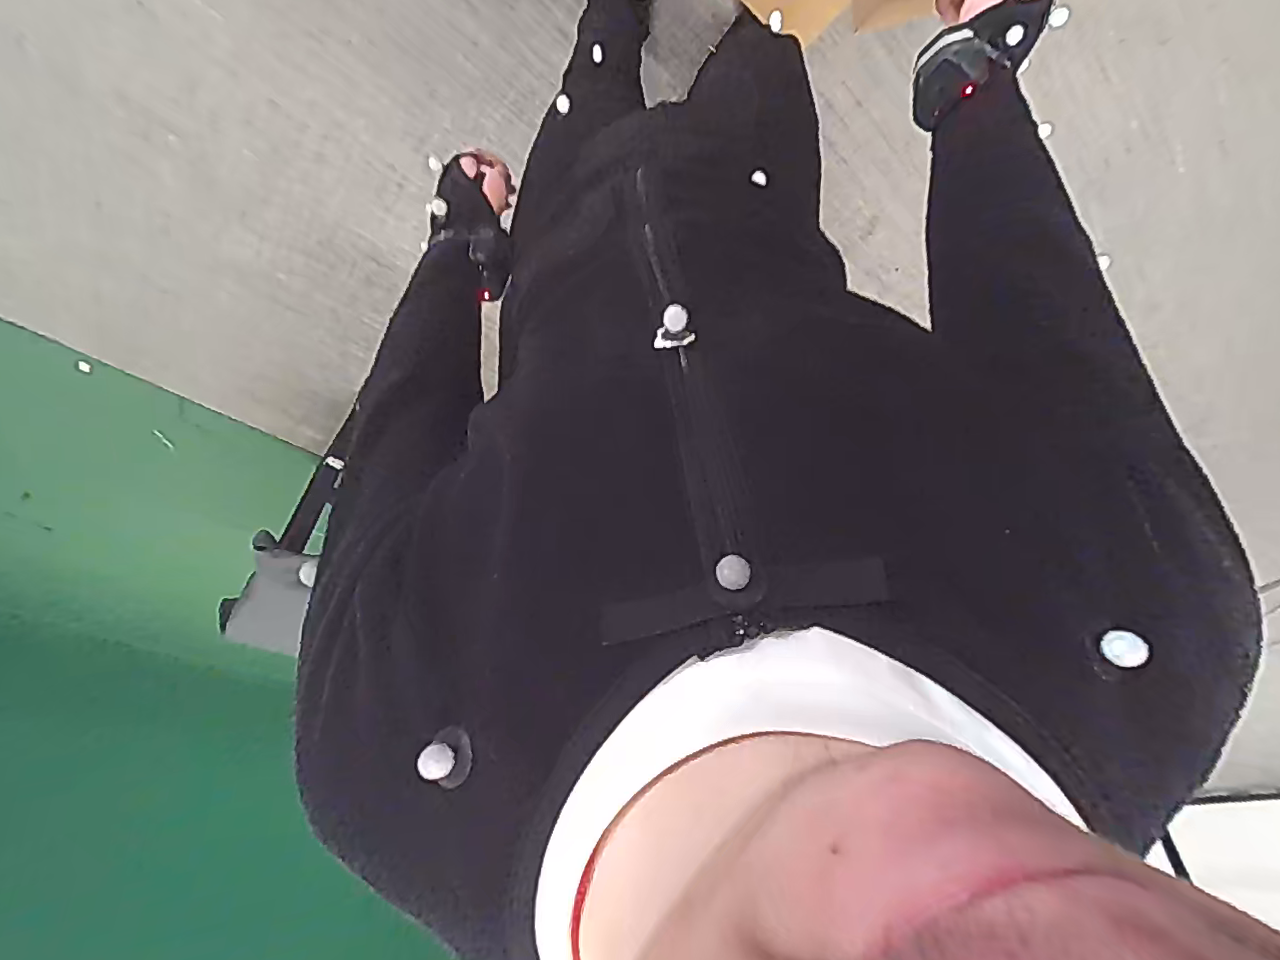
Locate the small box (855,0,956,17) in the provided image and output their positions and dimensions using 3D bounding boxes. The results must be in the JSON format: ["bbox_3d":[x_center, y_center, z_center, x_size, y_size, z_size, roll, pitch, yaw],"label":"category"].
[{"bbox_3d":[0.313,-0.596,0.531,0.168,0.176,0.179,-8,114,8],"label":"small box"}]
